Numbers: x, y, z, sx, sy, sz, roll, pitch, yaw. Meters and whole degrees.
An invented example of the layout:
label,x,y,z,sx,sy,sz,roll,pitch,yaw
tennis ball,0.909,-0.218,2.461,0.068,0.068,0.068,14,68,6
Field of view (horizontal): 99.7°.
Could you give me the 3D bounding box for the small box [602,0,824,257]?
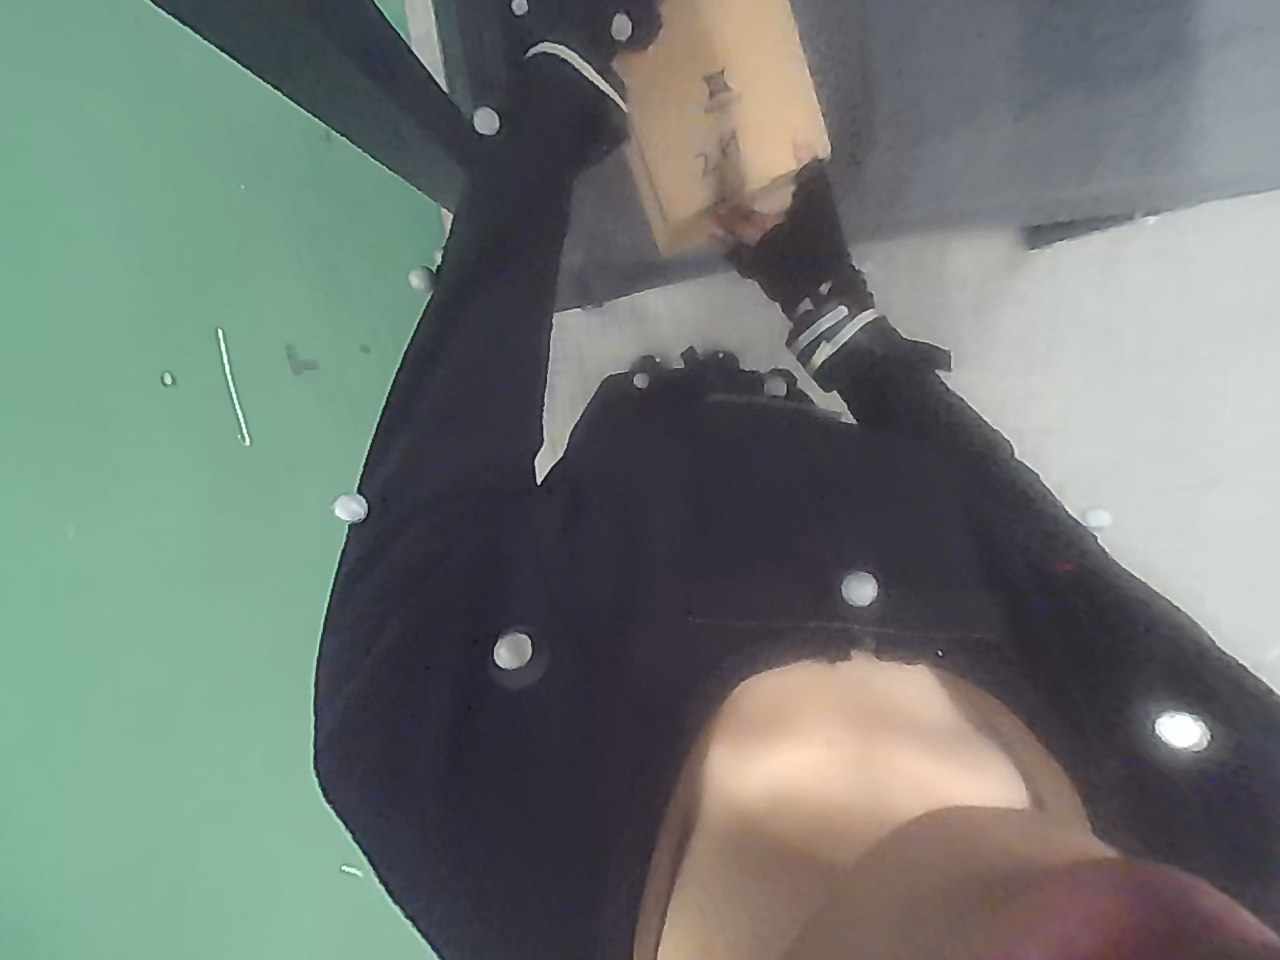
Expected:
label,x,y,z,sx,sy,sz,roll,pitch,yaw
small box,0.070,-0.366,0.577,0.168,0.176,0.179,-20,100,6
